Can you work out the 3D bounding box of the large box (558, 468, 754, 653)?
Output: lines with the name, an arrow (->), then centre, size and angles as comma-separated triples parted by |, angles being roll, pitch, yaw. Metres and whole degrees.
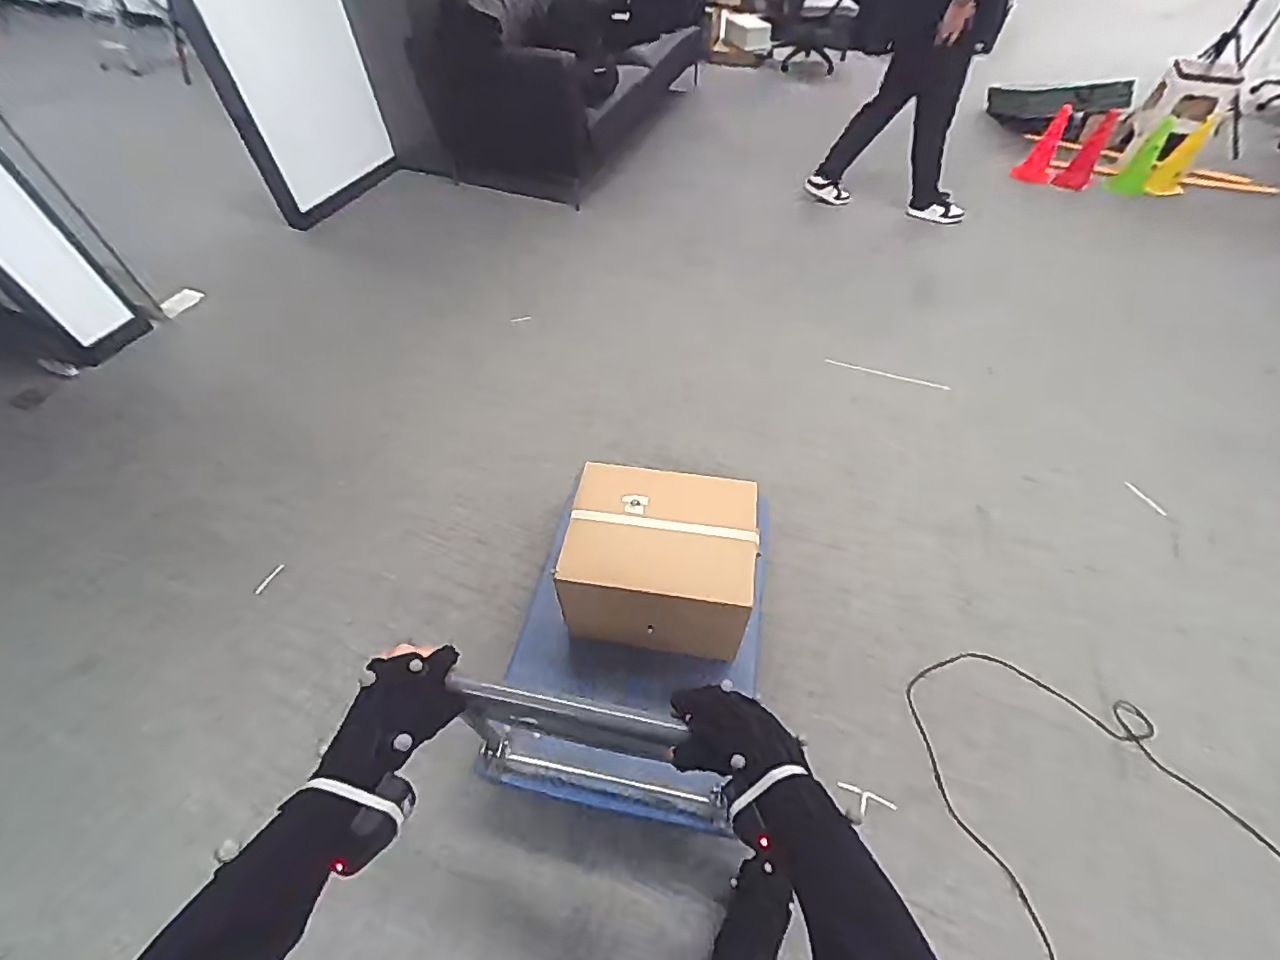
large box -> 0.053, 0.198, 1.295 | 0.408, 0.320, 0.320 | 6, 52, 6
